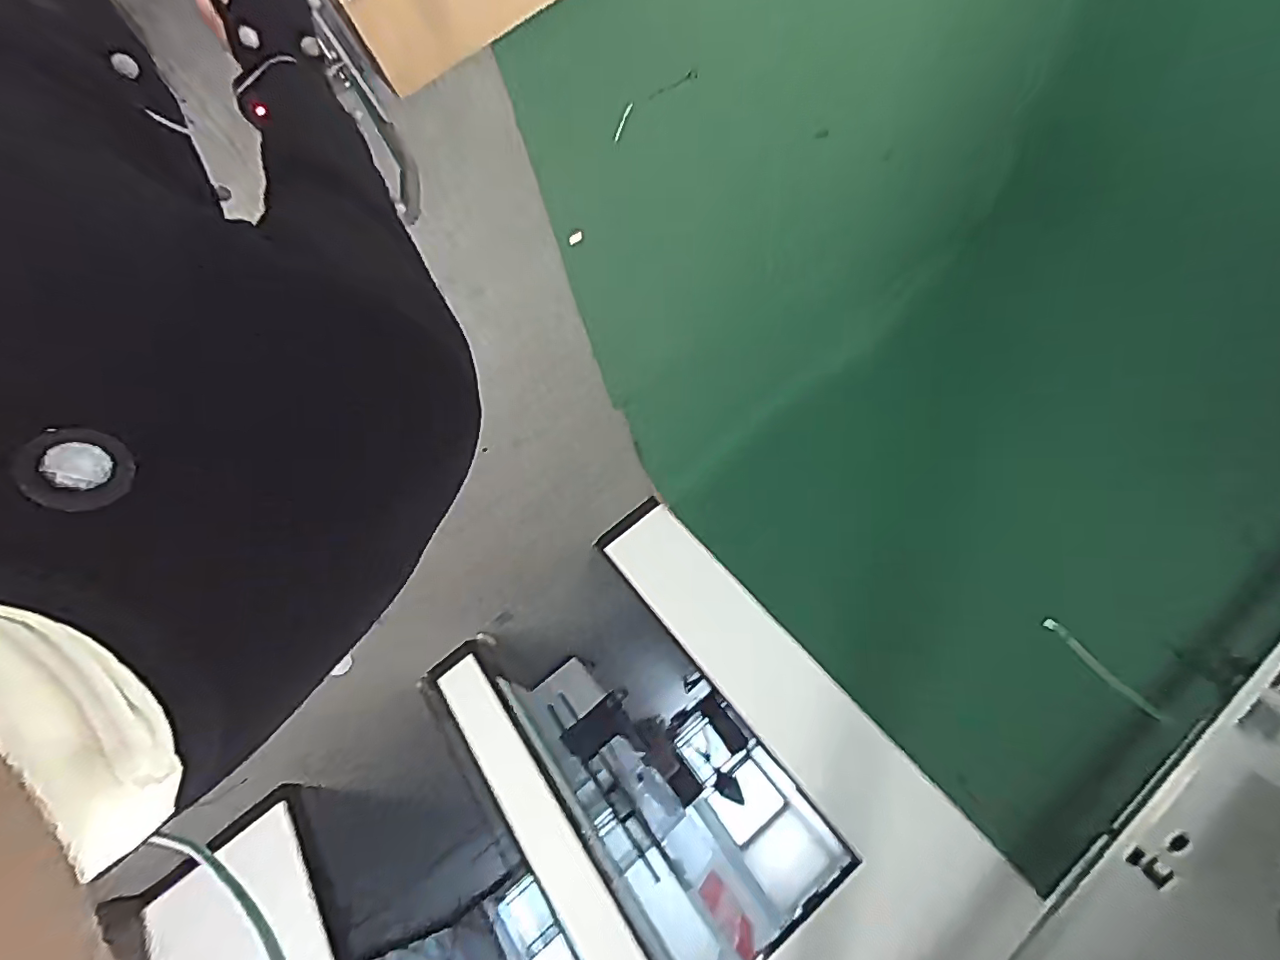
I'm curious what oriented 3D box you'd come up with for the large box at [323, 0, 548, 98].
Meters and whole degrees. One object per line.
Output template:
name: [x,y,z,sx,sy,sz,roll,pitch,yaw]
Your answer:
large box: [-0.378,-0.946,0.898,0.408,0.320,0.320,-36,150,-3]
